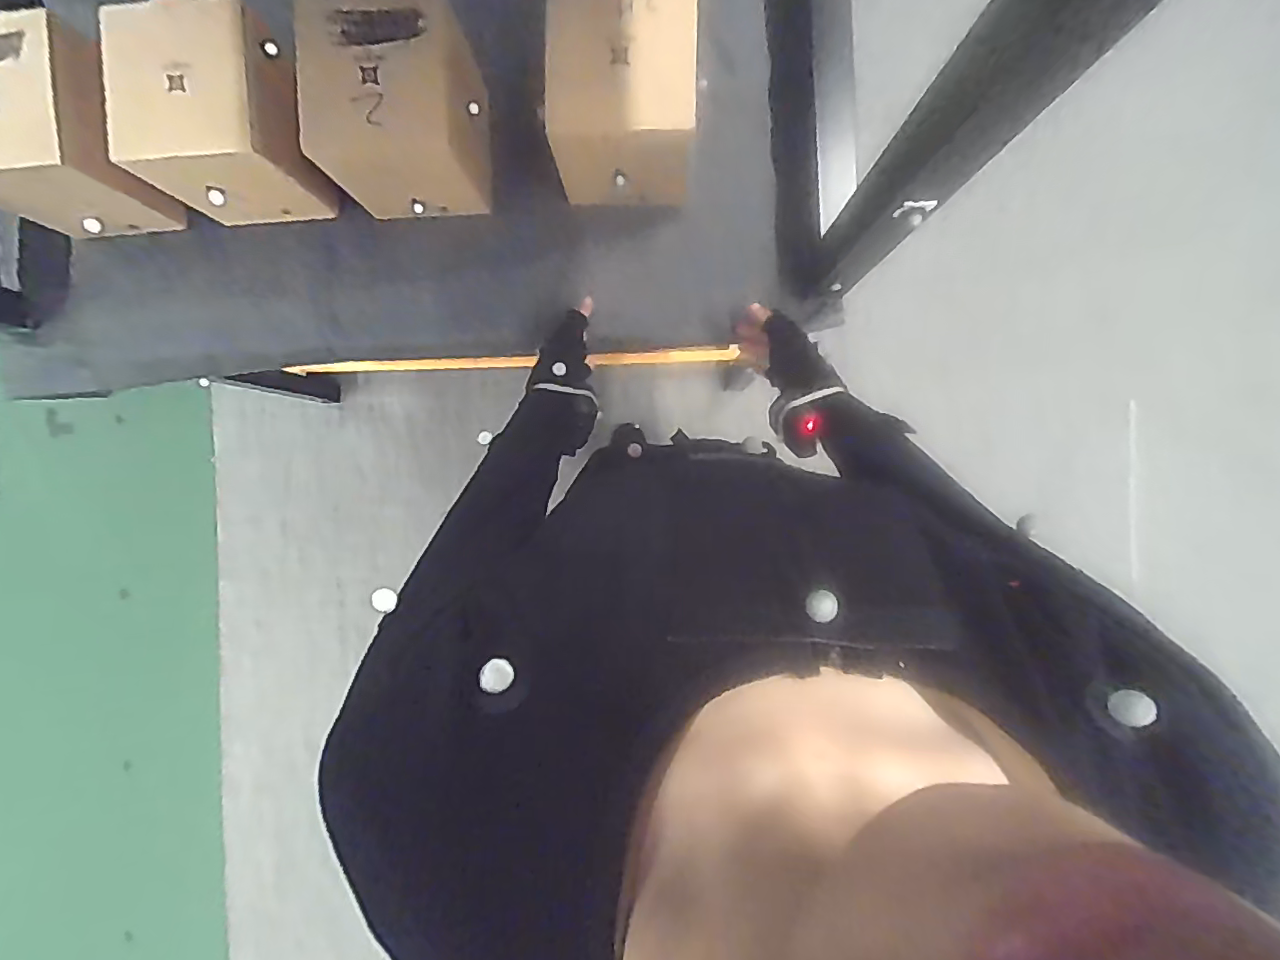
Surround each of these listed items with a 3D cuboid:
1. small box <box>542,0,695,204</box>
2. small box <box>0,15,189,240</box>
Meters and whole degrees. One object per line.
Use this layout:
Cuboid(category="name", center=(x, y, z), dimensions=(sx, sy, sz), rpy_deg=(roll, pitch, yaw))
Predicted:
Cuboid(category="small box", center=(-0.020, -0.463, 0.664), dimensions=(0.168, 0.176, 0.179), rpy_deg=(1, 91, 2))
Cuboid(category="small box", center=(-0.729, -0.434, 0.692), dimensions=(0.168, 0.176, 0.179), rpy_deg=(-4, 91, 2))
